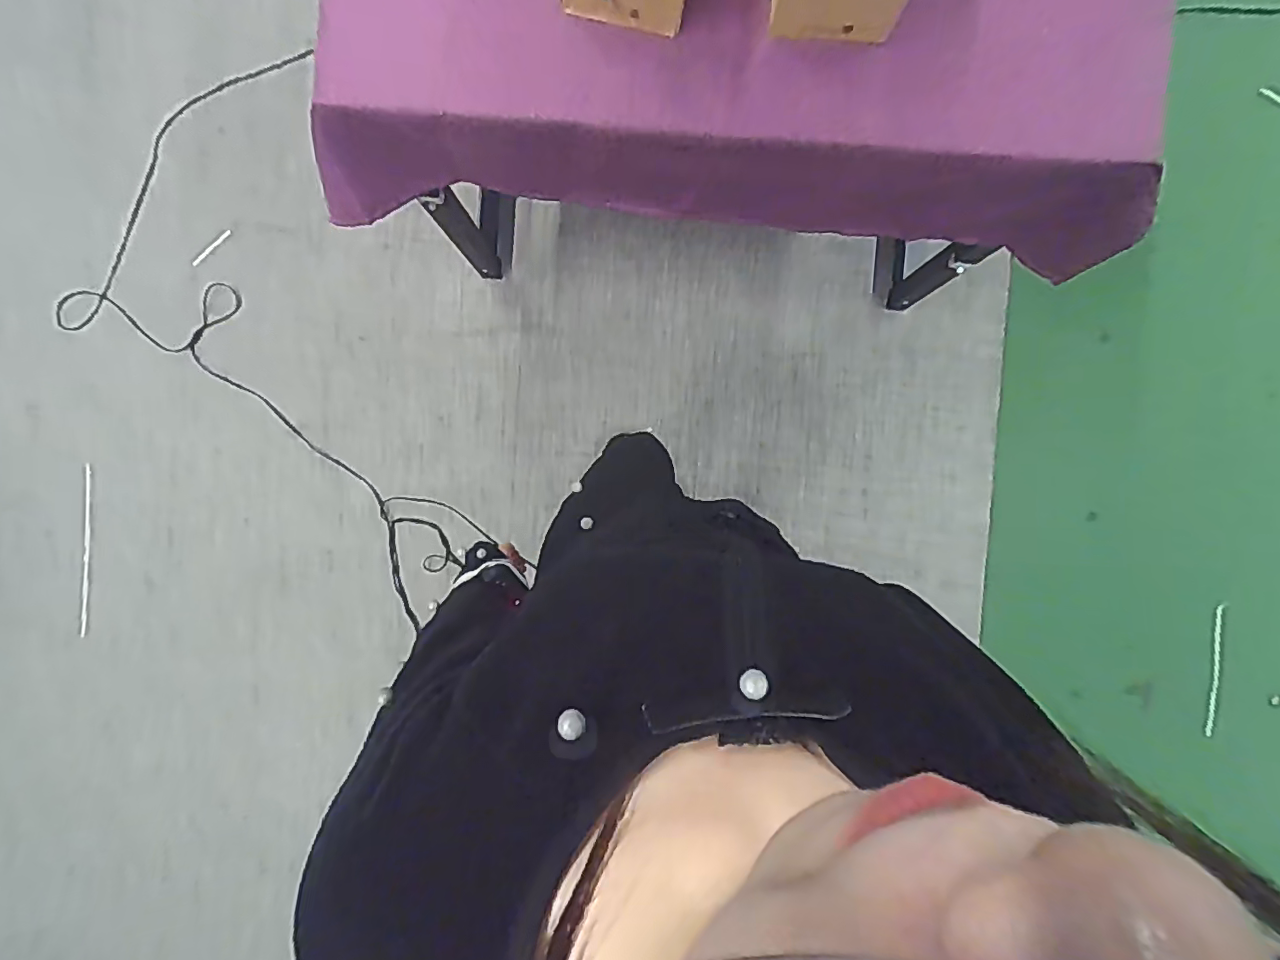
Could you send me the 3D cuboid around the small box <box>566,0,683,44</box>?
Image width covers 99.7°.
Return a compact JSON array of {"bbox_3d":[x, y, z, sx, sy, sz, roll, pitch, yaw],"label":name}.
[{"bbox_3d":[-0.013,-0.730,0.701,0.168,0.176,0.179,12,91,0],"label":"small box"}]
